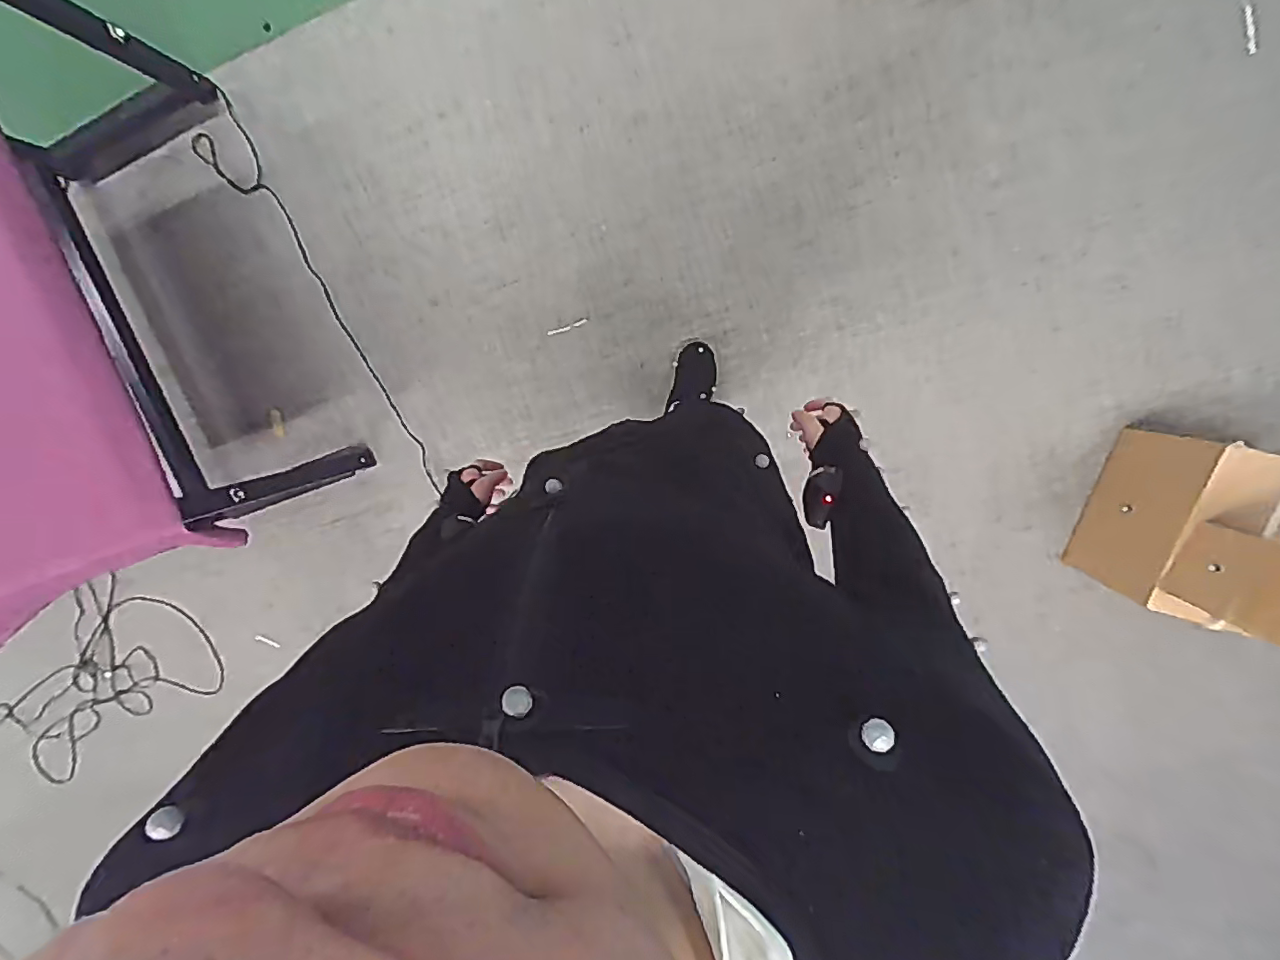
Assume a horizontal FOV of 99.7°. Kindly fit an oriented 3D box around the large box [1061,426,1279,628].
[{"bbox_3d":[1.363,0.106,1.343,0.320,0.320,0.408,14,103,2],"label":"large box"}]

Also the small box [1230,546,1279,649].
[{"bbox_3d":[1.241,0.242,0.968,0.168,0.176,0.179,19,103,4],"label":"small box"}]
